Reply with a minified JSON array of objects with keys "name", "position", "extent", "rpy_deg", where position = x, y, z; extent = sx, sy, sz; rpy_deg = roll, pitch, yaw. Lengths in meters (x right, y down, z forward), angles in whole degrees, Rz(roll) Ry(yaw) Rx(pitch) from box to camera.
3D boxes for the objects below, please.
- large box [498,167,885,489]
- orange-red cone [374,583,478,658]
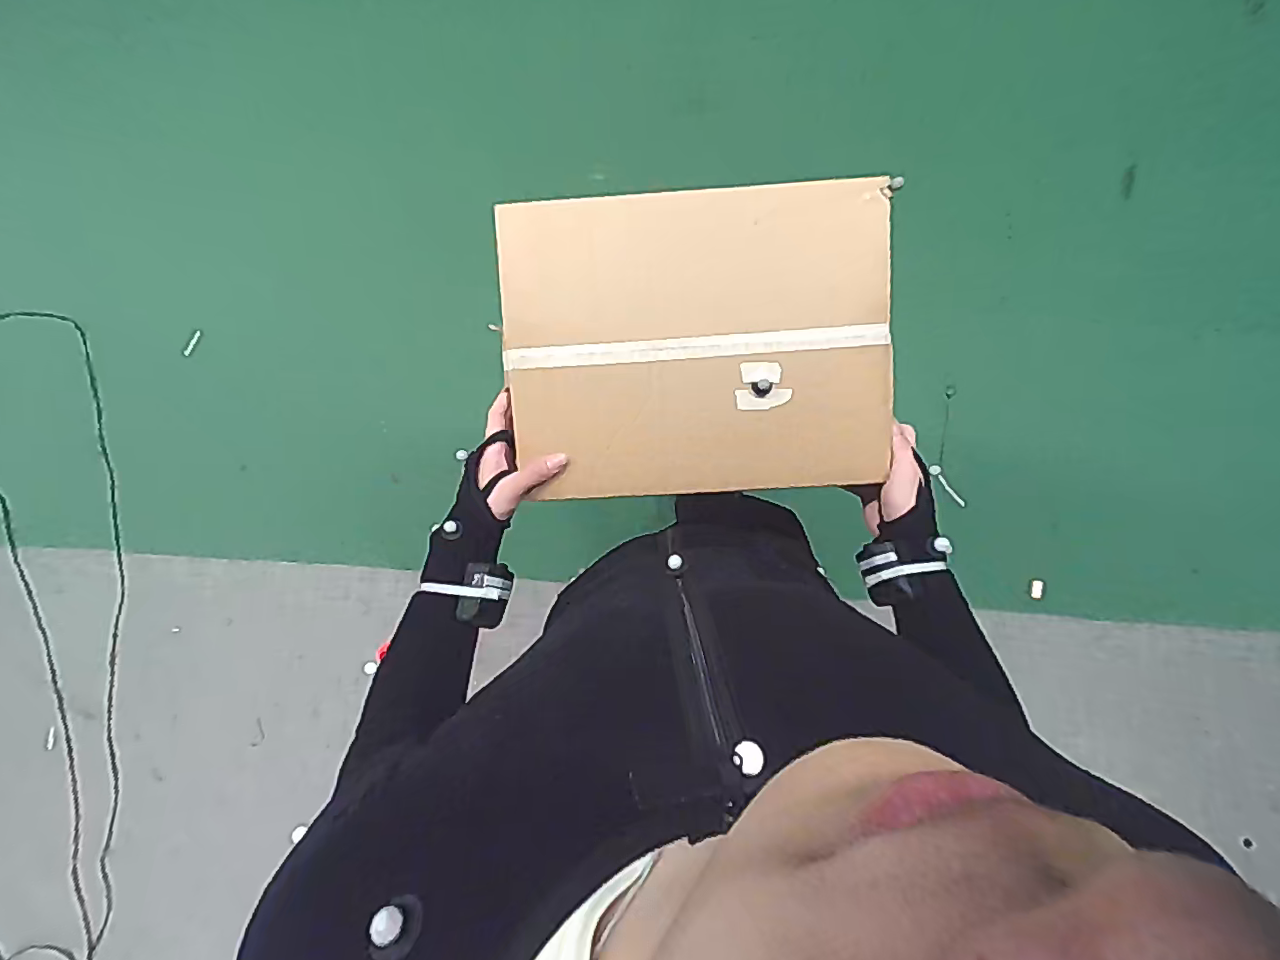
[{"name":"large box","position":[0.060,-0.174,0.724],"extent":[0.408,0.320,0.320],"rpy_deg":[-3,98,1]},{"name":"orange-red cone","position":[-0.619,0.422,1.488],"extent":[0.199,0.360,0.198],"rpy_deg":[11,89,5]}]
